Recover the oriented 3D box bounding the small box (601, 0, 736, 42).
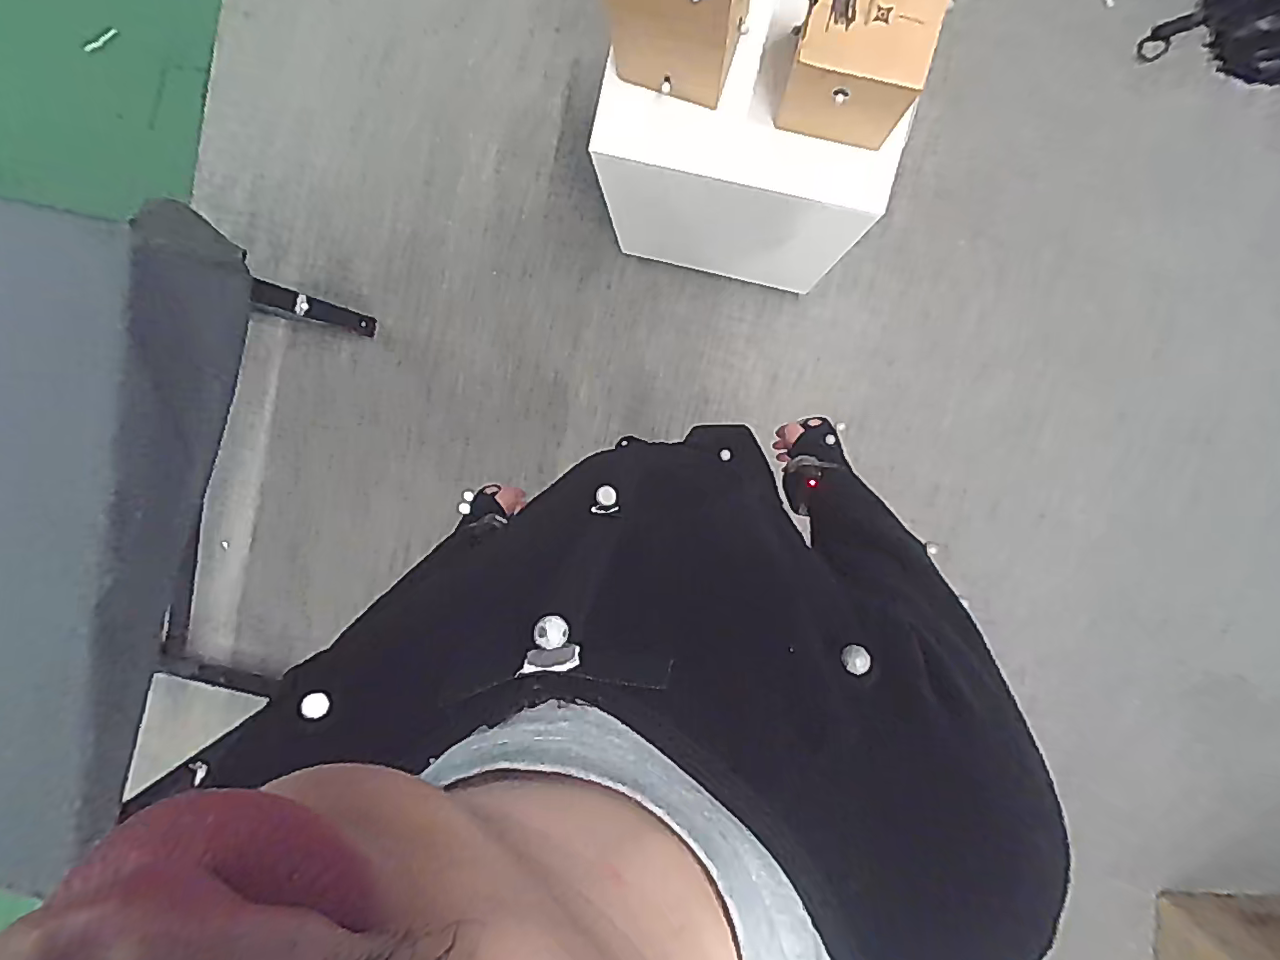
[{"bbox_3d":[0.048,-0.671,0.637,0.179,0.176,0.168,15,94,1],"label":"small box"}]

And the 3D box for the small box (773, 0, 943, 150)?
[{"bbox_3d":[0.310,-0.623,0.796,0.179,0.176,0.168,13,95,0],"label":"small box"}]
